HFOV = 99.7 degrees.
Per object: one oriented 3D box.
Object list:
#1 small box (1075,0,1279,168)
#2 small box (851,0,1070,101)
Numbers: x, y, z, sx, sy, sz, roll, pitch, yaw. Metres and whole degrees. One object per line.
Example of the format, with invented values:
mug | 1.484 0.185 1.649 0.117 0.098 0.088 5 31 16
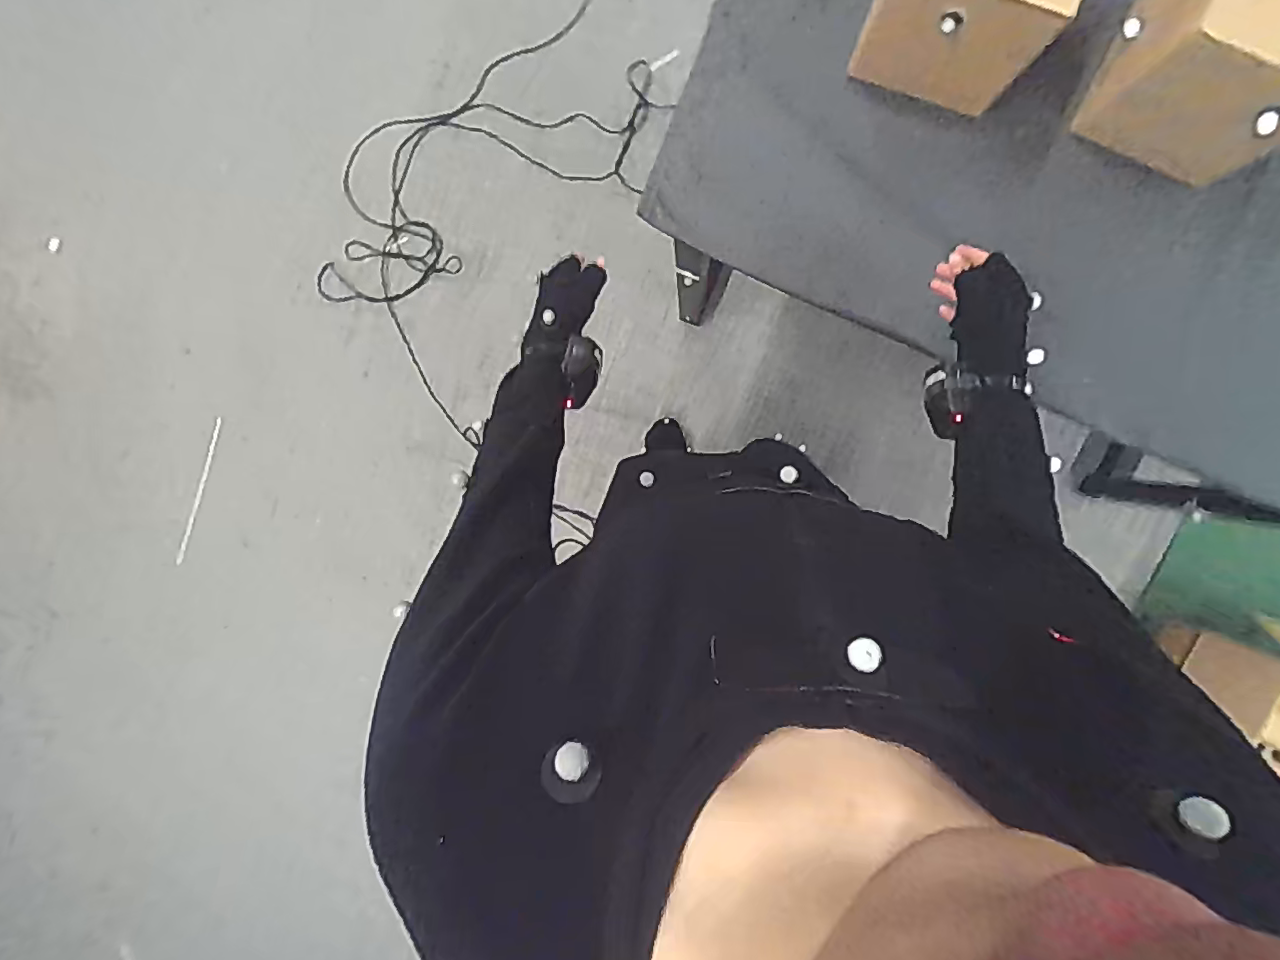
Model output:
small box | 0.630 -0.467 0.570 0.179 0.176 0.168 26 96 3
small box | 0.357 -0.557 0.585 0.179 0.176 0.168 20 97 2
